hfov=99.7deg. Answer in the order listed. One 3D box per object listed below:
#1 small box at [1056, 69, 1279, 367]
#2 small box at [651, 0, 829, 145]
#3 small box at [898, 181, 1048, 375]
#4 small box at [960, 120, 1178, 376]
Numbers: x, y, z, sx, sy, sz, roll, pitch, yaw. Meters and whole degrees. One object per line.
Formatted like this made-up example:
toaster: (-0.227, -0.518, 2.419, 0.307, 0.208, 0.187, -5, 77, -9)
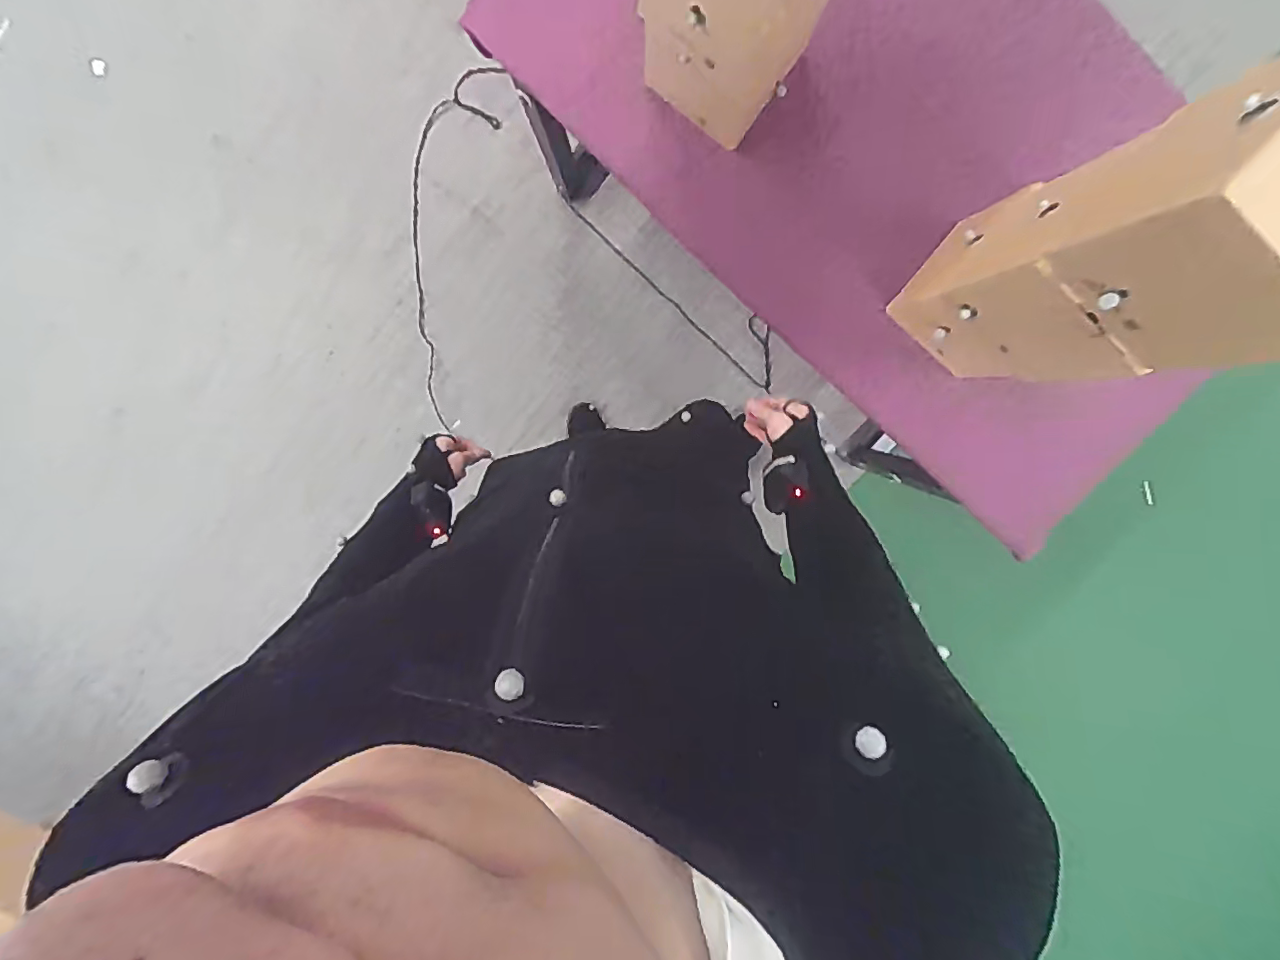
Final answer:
small box: (0.502, -0.211, 0.434, 0.168, 0.176, 0.179, 42, 96, -7)
small box: (0.123, -0.586, 0.693, 0.168, 0.176, 0.179, 35, 97, -6)
small box: (0.497, -0.263, 0.758, 0.168, 0.176, 0.179, 39, 96, -6)
small box: (0.497, -0.230, 0.596, 0.168, 0.176, 0.179, 41, 95, -7)
